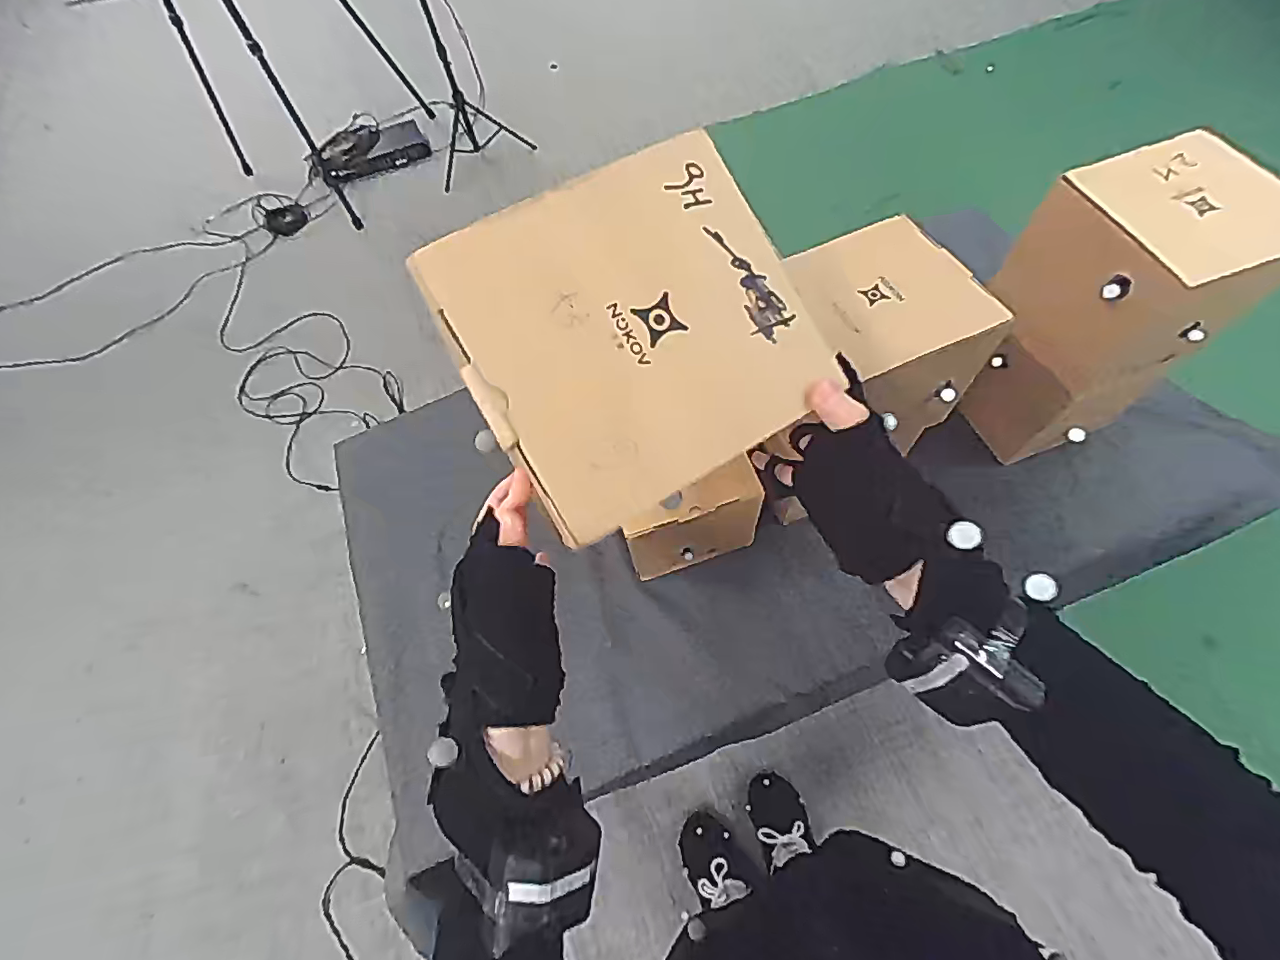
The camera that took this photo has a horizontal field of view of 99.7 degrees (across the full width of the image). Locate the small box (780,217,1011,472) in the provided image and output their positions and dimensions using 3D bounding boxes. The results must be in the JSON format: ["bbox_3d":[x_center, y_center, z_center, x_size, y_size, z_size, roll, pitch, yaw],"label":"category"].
[{"bbox_3d":[0.232,-0.138,0.582,0.179,0.176,0.168,-23,62,-5],"label":"small box"}]

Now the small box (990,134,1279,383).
[{"bbox_3d":[0.540,-0.229,0.593,0.168,0.176,0.179,-19,62,-3],"label":"small box"}]

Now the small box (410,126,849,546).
[{"bbox_3d":[-0.012,-0.071,0.352,0.179,0.176,0.168,-31,92,-12],"label":"small box"}]
